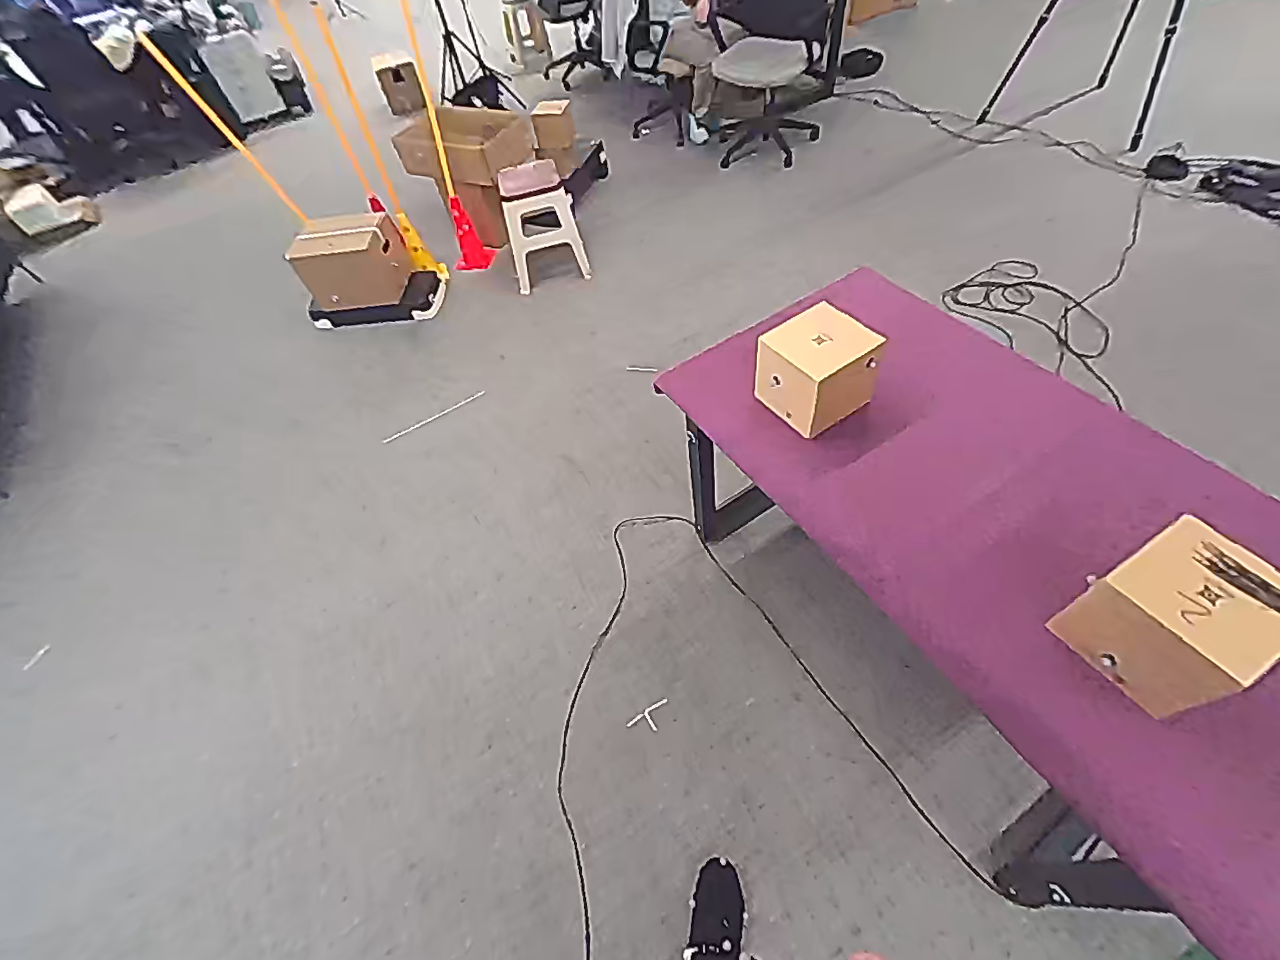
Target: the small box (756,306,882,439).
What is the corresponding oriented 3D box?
[{"bbox_3d":[0.354,-0.214,1.101,0.179,0.176,0.168,-31,55,-16],"label":"small box"}]
